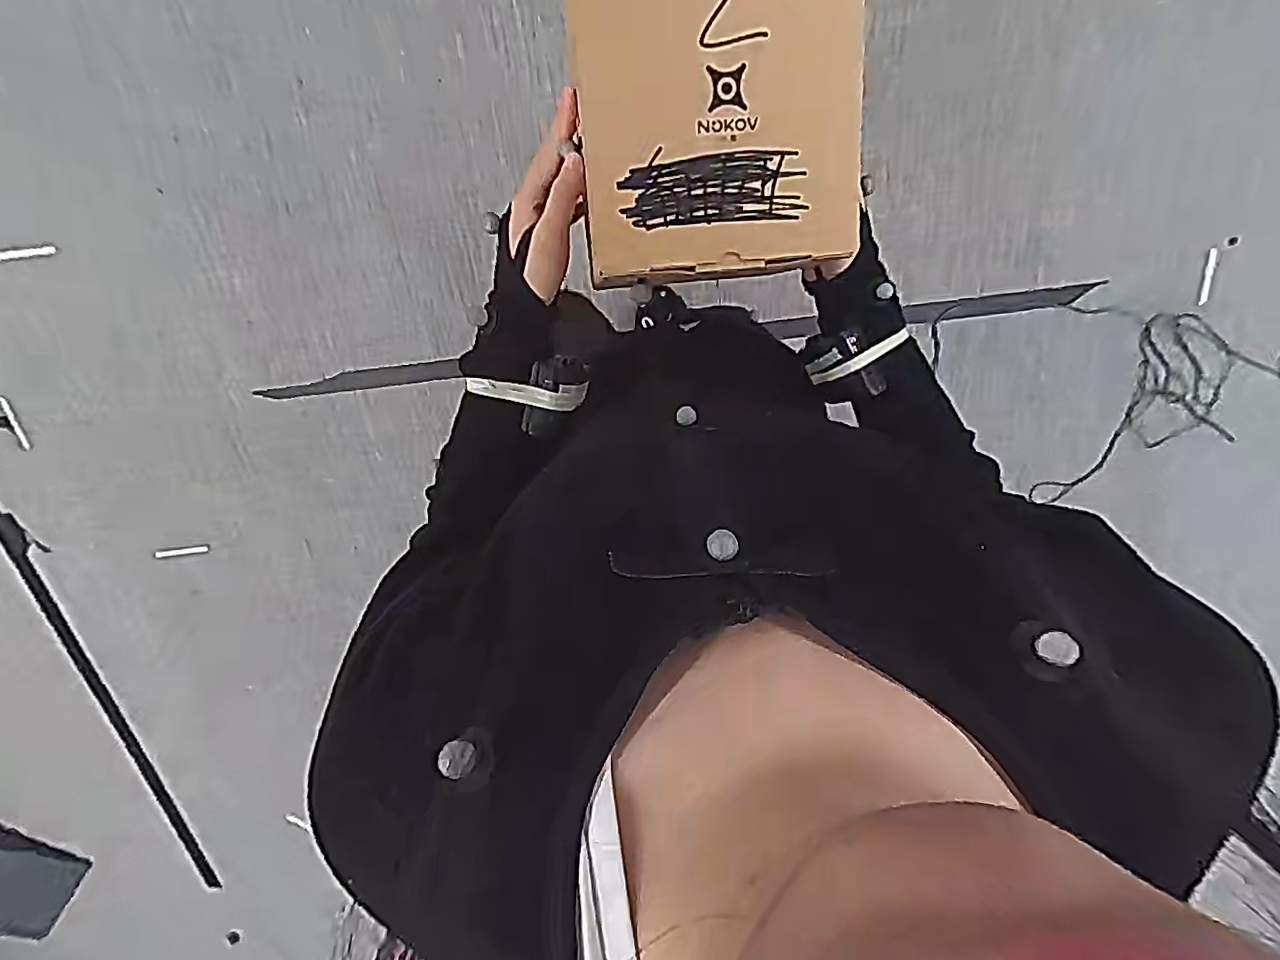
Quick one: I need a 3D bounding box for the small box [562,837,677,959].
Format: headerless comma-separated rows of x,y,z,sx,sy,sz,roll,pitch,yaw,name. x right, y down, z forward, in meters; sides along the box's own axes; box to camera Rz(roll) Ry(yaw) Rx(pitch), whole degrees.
-0.030,0.747,0.926,0.179,0.176,0.168,-5,109,1,small box
